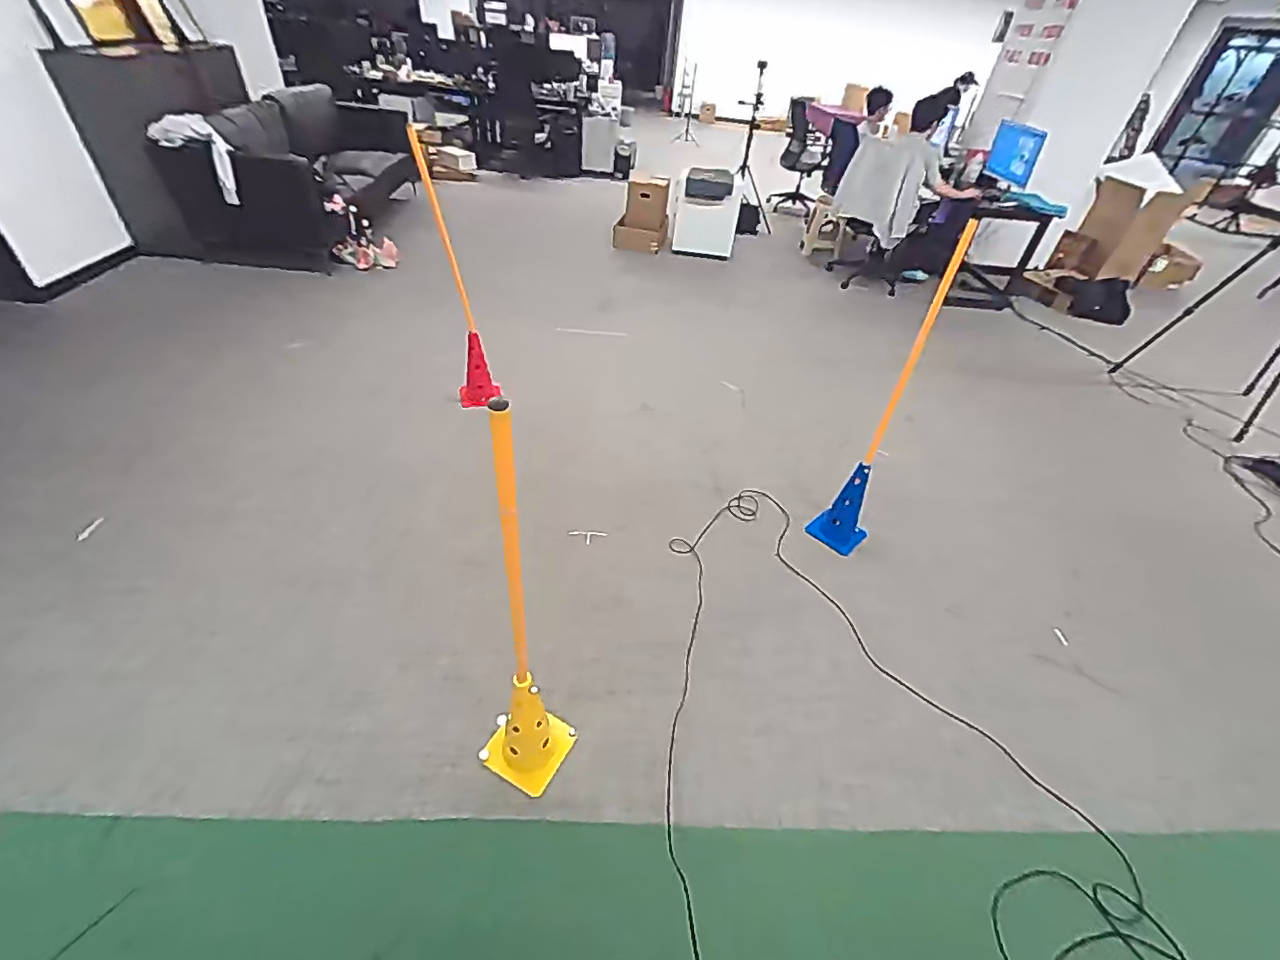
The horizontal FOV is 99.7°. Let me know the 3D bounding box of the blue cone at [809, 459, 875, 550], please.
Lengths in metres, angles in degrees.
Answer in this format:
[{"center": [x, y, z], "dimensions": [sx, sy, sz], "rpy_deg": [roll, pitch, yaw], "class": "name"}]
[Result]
[{"center": [0.825, 0.072, 2.122], "dimensions": [0.192, 0.380, 0.193], "rpy_deg": [34, 45, 29], "class": "blue cone"}]
